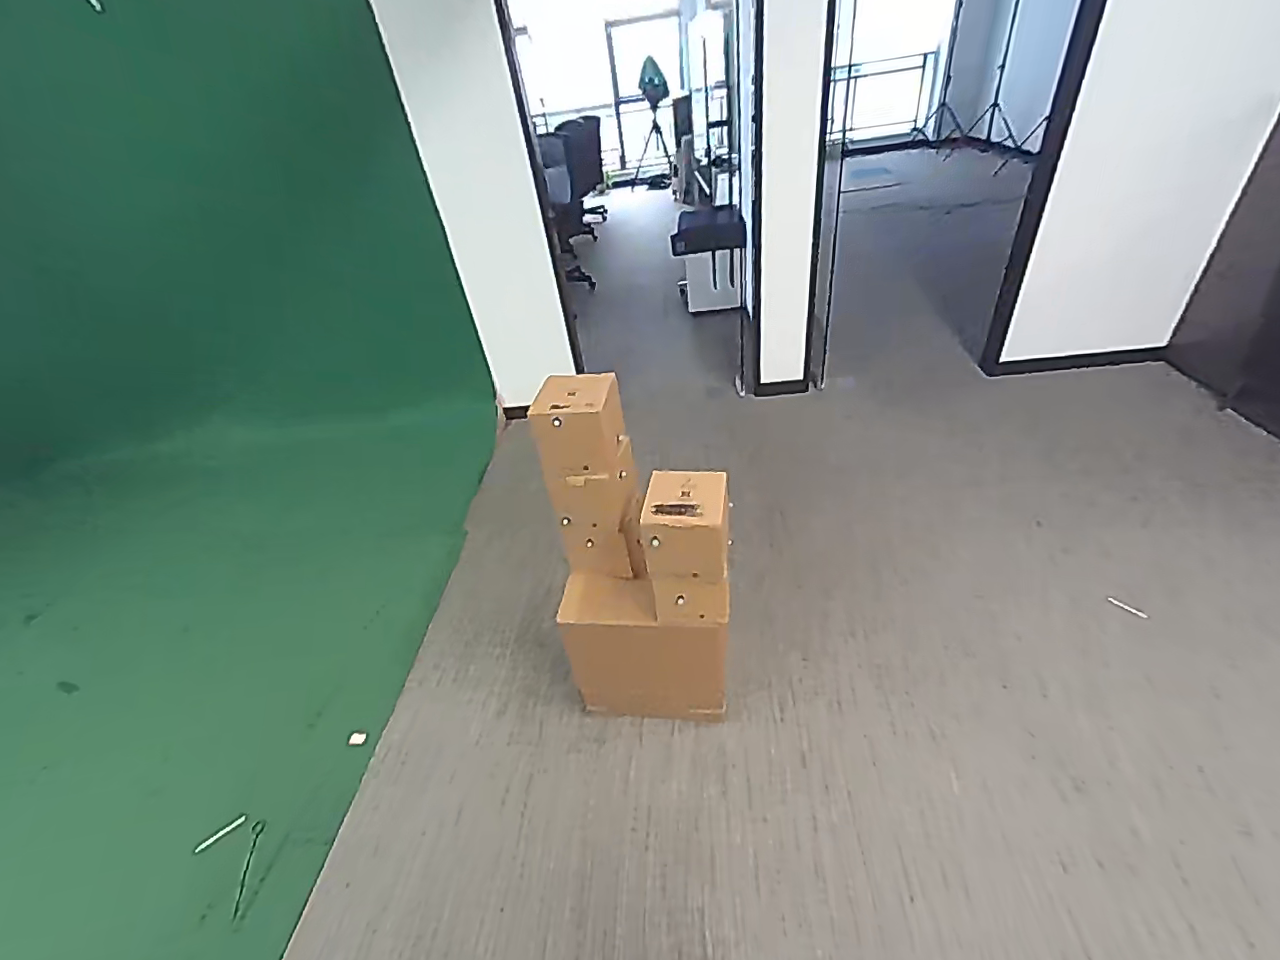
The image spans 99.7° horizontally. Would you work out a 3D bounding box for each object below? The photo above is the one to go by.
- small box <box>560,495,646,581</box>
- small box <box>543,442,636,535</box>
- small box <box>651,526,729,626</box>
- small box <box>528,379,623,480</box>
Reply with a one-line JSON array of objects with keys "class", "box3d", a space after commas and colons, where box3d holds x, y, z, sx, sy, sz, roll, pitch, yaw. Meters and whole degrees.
[{"class": "small box", "box3d": [-0.091, 0.151, 1.437, 0.179, 0.176, 0.168, 3, 38, 14]}, {"class": "small box", "box3d": [-0.116, 0.019, 1.342, 0.168, 0.176, 0.179, 3, 37, 16]}, {"class": "small box", "box3d": [0.124, 0.230, 1.286, 0.168, 0.176, 0.179, -3, 37, 8]}, {"class": "small box", "box3d": [-0.139, -0.116, 1.250, 0.168, 0.176, 0.179, -2, 36, 11]}]
